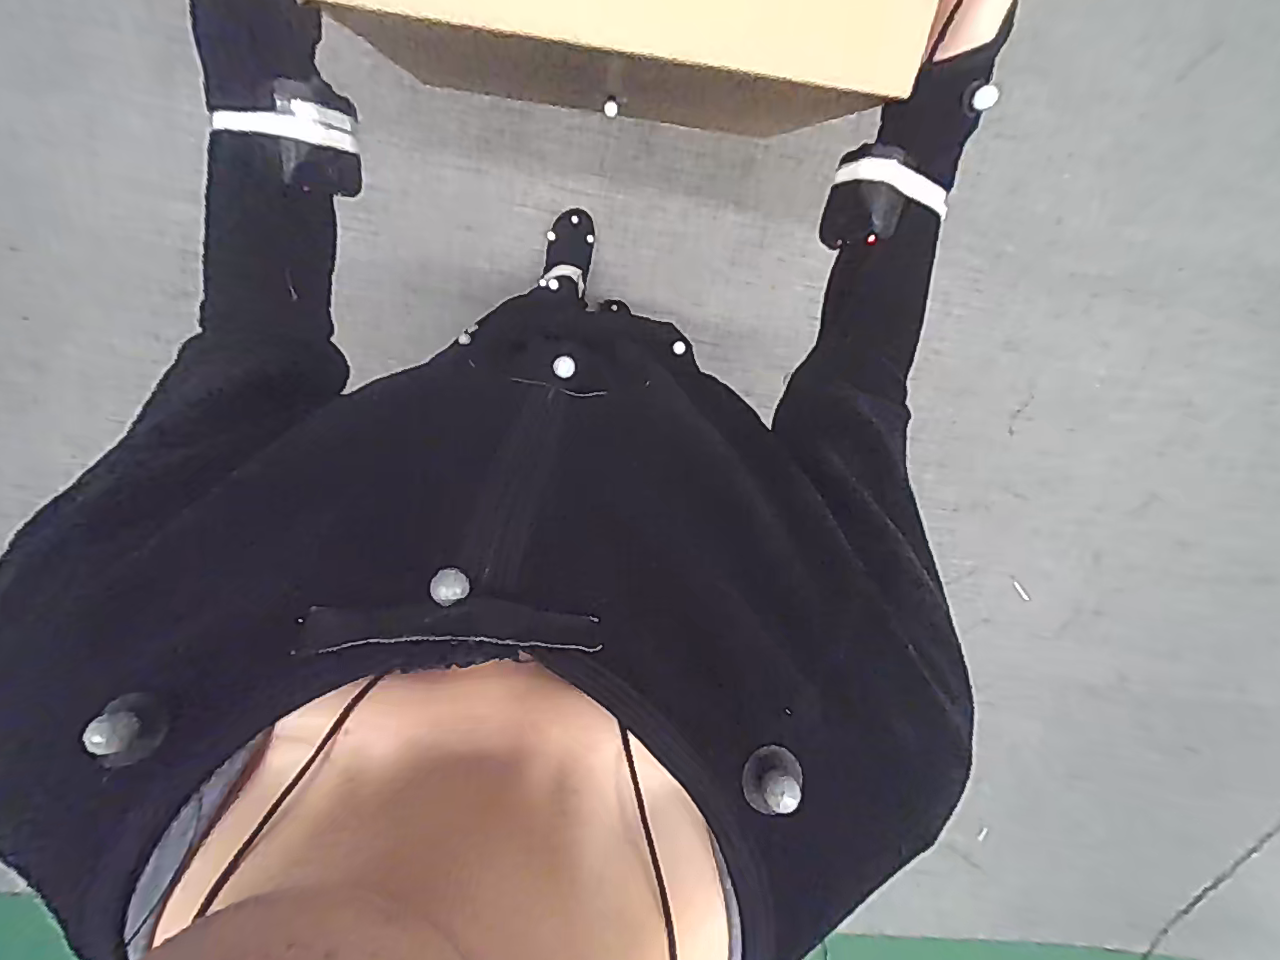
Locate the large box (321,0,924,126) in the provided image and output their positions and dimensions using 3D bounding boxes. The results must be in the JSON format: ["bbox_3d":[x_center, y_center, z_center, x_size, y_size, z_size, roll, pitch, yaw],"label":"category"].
[{"bbox_3d":[-0.004,-0.493,0.427,0.408,0.320,0.320,3,117,-8],"label":"large box"}]
